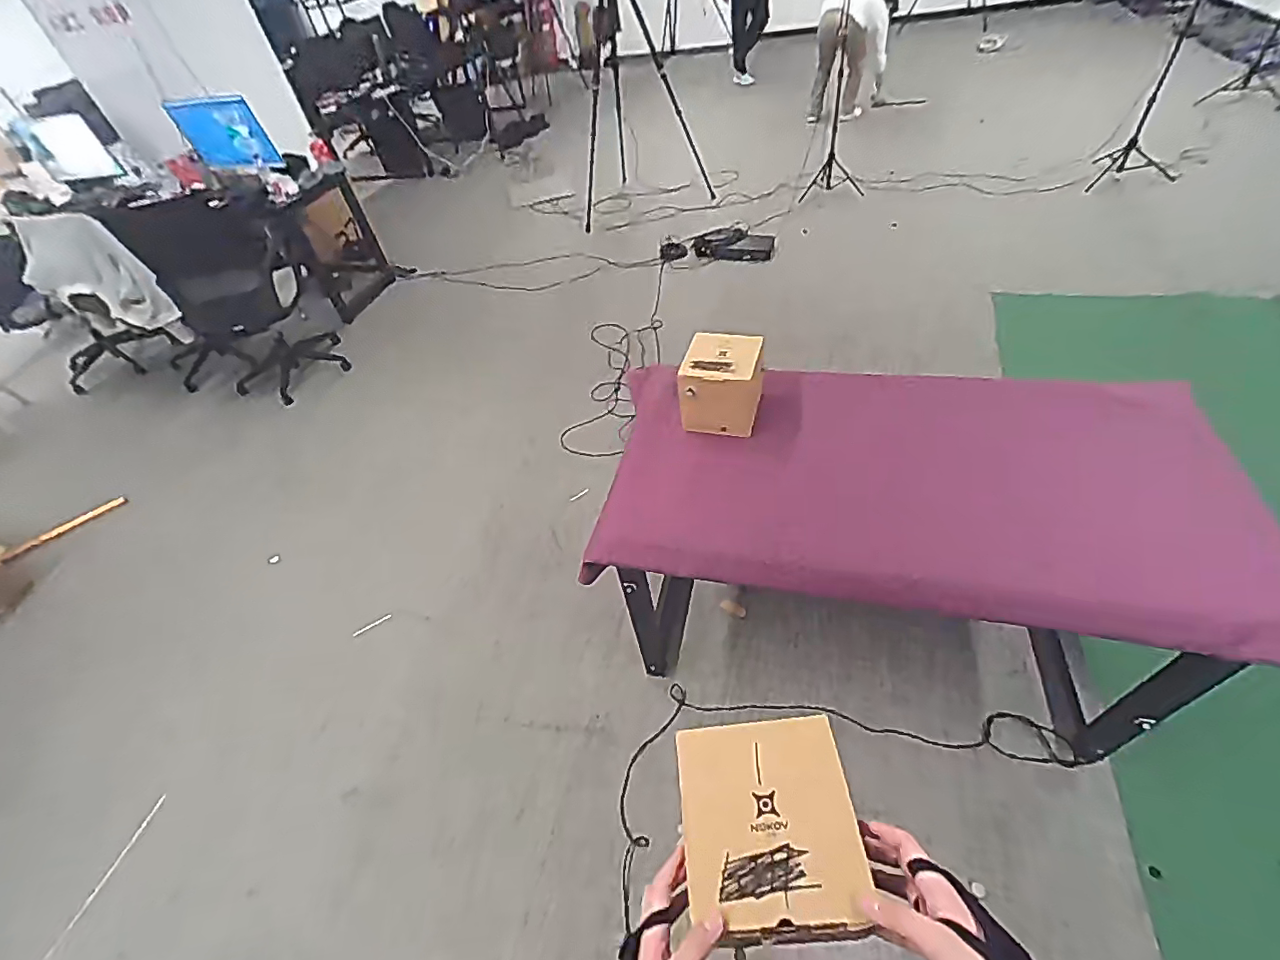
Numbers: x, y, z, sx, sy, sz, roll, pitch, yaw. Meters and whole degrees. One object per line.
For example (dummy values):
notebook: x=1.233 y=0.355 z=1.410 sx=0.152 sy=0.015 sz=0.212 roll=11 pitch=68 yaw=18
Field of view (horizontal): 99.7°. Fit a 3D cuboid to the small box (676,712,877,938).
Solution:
small box: x=0.136 y=0.372 z=0.578 sx=0.168 sy=0.176 sz=0.179 roll=-9 pitch=46 yaw=6
